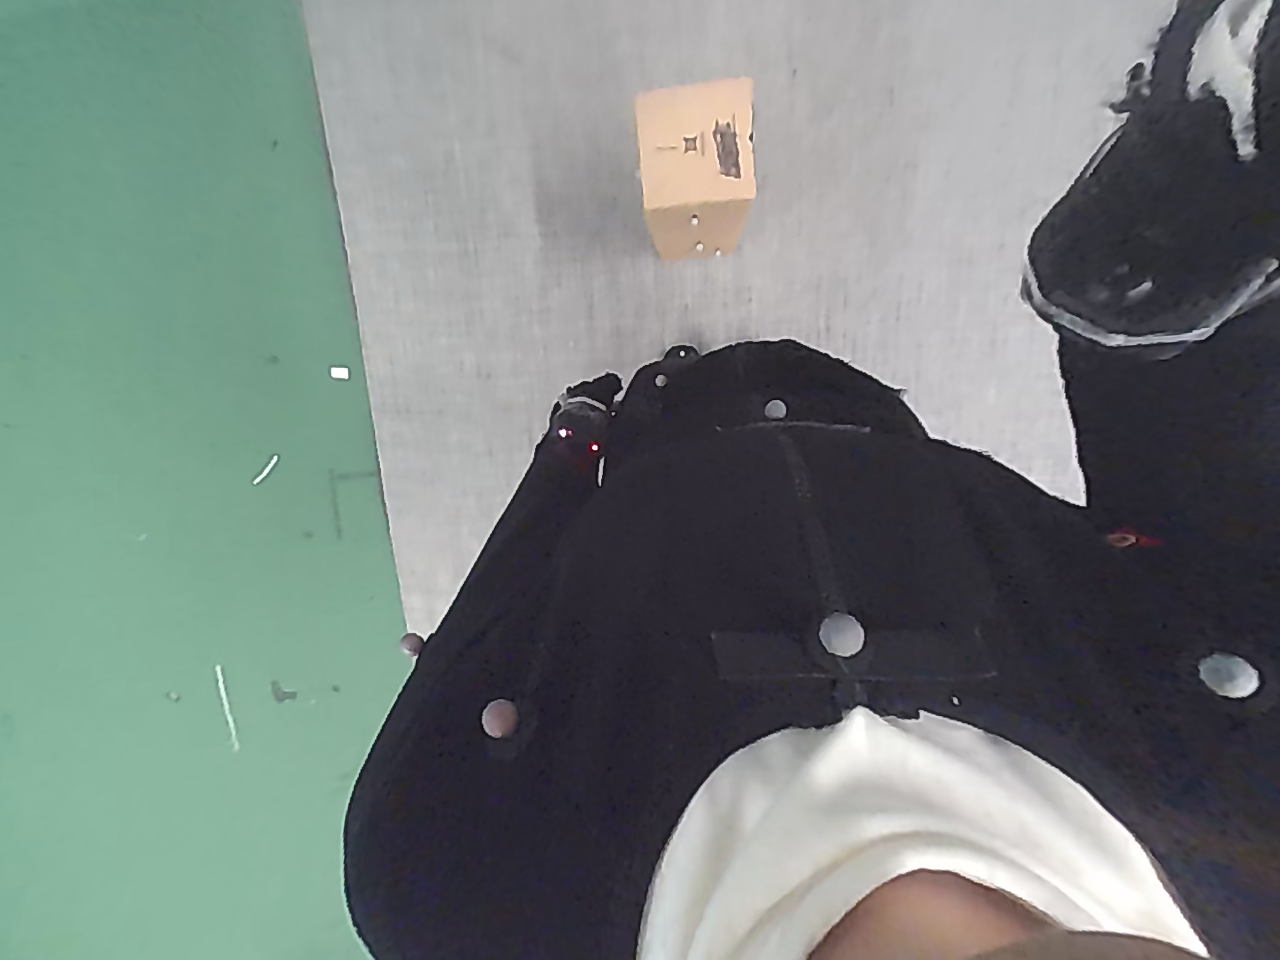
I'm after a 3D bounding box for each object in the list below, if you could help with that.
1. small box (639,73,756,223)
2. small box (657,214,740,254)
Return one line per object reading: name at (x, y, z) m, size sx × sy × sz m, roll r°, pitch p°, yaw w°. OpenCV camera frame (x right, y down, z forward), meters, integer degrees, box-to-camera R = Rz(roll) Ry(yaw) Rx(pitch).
small box at (0.091, -0.535, 0.892) m, size 0.179 × 0.176 × 0.168 m, roll 0°, pitch 102°, yaw 5°
small box at (0.128, -0.613, 1.211) m, size 0.179 × 0.176 × 0.168 m, roll -3°, pitch 103°, yaw 8°
